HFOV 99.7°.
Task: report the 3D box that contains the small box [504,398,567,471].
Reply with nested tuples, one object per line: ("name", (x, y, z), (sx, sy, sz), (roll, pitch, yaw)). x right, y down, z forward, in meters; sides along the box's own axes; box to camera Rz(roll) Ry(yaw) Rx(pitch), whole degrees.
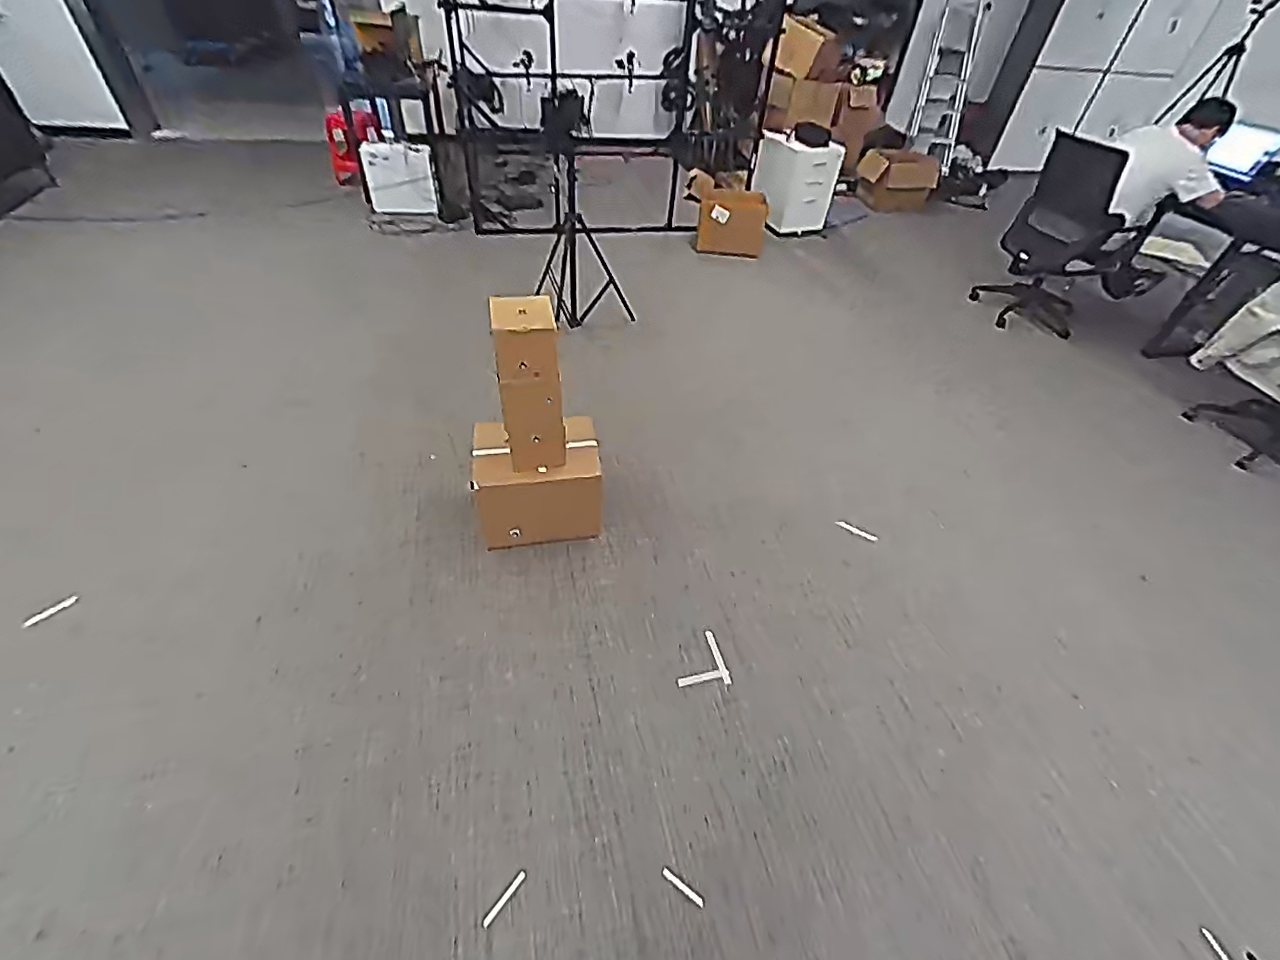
("small box", (-0.332, -0.142, 1.728), (0.179, 0.176, 0.168), (-7, 47, -13))

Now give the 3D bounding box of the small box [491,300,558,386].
("small box", (-0.321, -0.380, 1.503), (0.168, 0.176, 0.179), (-7, 47, -12))
